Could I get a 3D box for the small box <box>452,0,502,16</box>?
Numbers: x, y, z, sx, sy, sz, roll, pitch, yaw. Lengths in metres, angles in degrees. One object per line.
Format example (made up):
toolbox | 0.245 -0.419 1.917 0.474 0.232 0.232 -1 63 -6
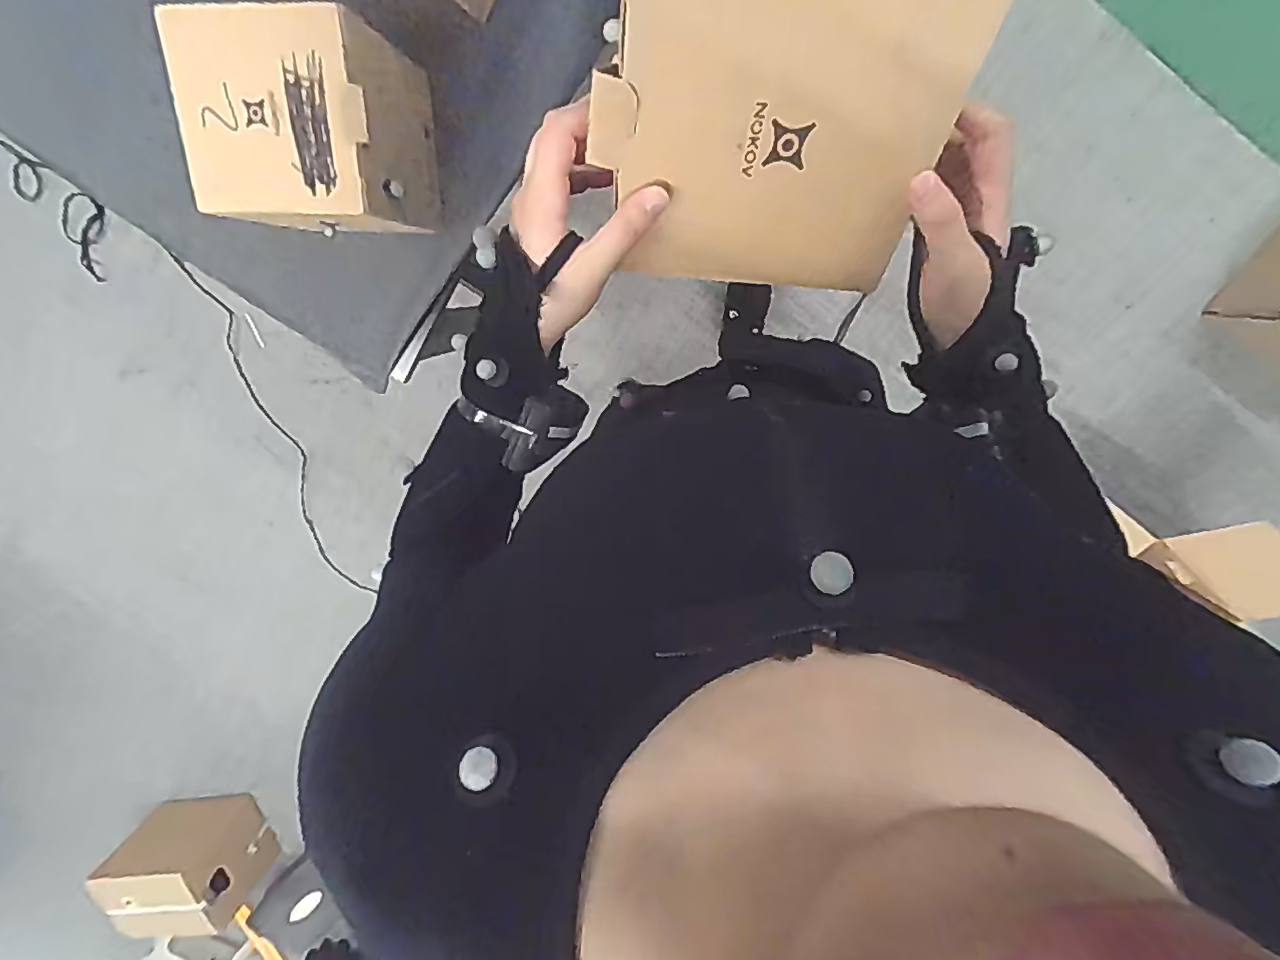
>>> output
small box | -0.198 -0.582 0.485 0.179 0.176 0.168 37 109 -6
